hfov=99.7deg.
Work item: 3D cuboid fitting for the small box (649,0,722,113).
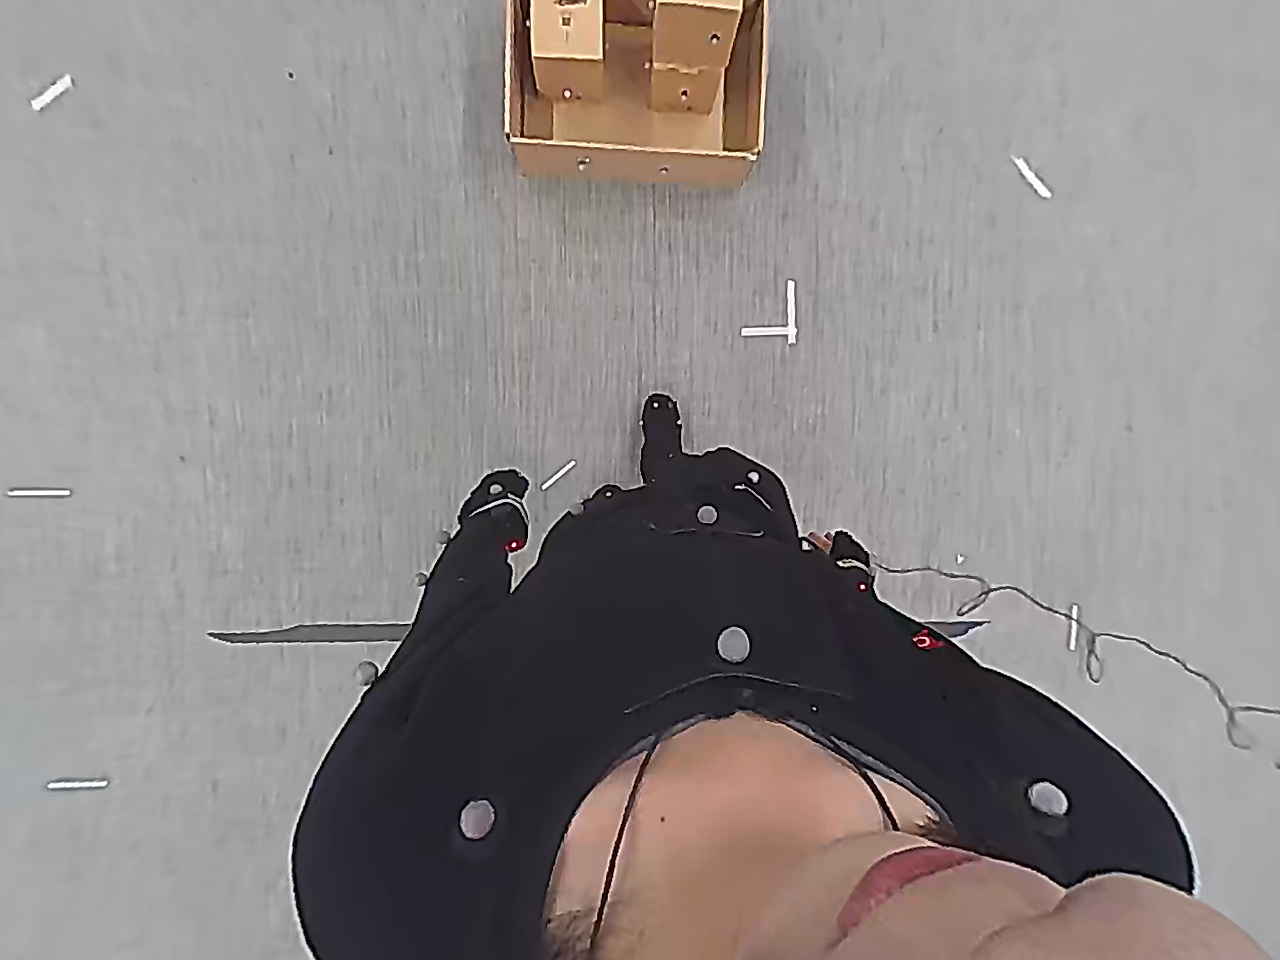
[{"bbox_3d":[0.110,-1.041,1.329,0.168,0.176,0.179,2,95,-2],"label":"small box"}]

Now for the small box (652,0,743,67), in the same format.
[{"bbox_3d":[0.123,-1.035,1.165,0.179,0.176,0.168,3,92,-2],"label":"small box"}]
